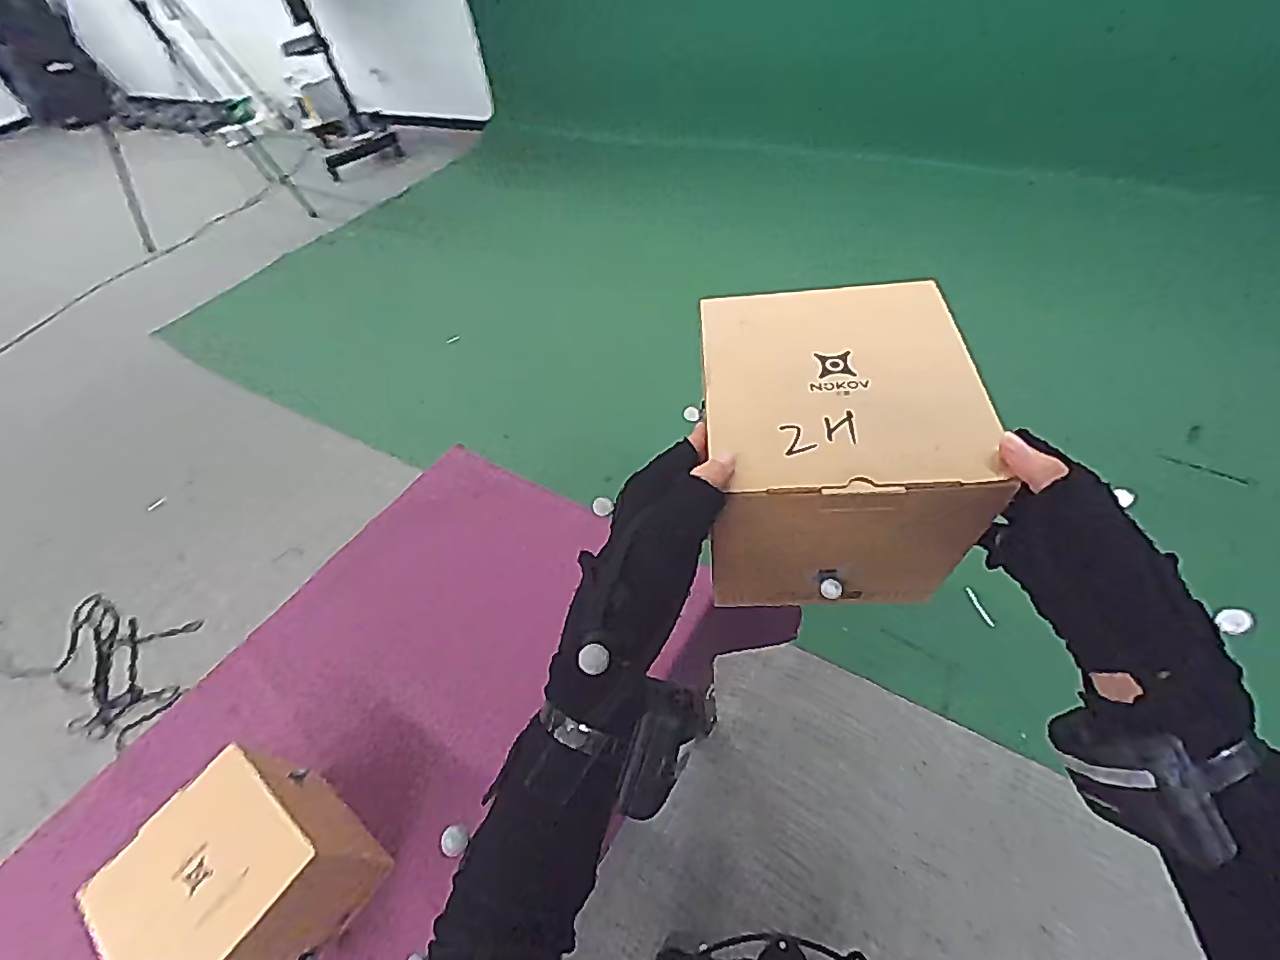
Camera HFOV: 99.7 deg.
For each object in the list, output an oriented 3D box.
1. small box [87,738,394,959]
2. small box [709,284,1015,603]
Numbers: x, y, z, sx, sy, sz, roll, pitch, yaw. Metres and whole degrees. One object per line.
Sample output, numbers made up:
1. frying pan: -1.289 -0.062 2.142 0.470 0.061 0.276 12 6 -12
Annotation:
1. small box: -0.410 0.421 0.581 0.179 0.176 0.168 26 60 27
2. small box: 0.136 -0.022 0.413 0.168 0.176 0.179 -2 55 8
